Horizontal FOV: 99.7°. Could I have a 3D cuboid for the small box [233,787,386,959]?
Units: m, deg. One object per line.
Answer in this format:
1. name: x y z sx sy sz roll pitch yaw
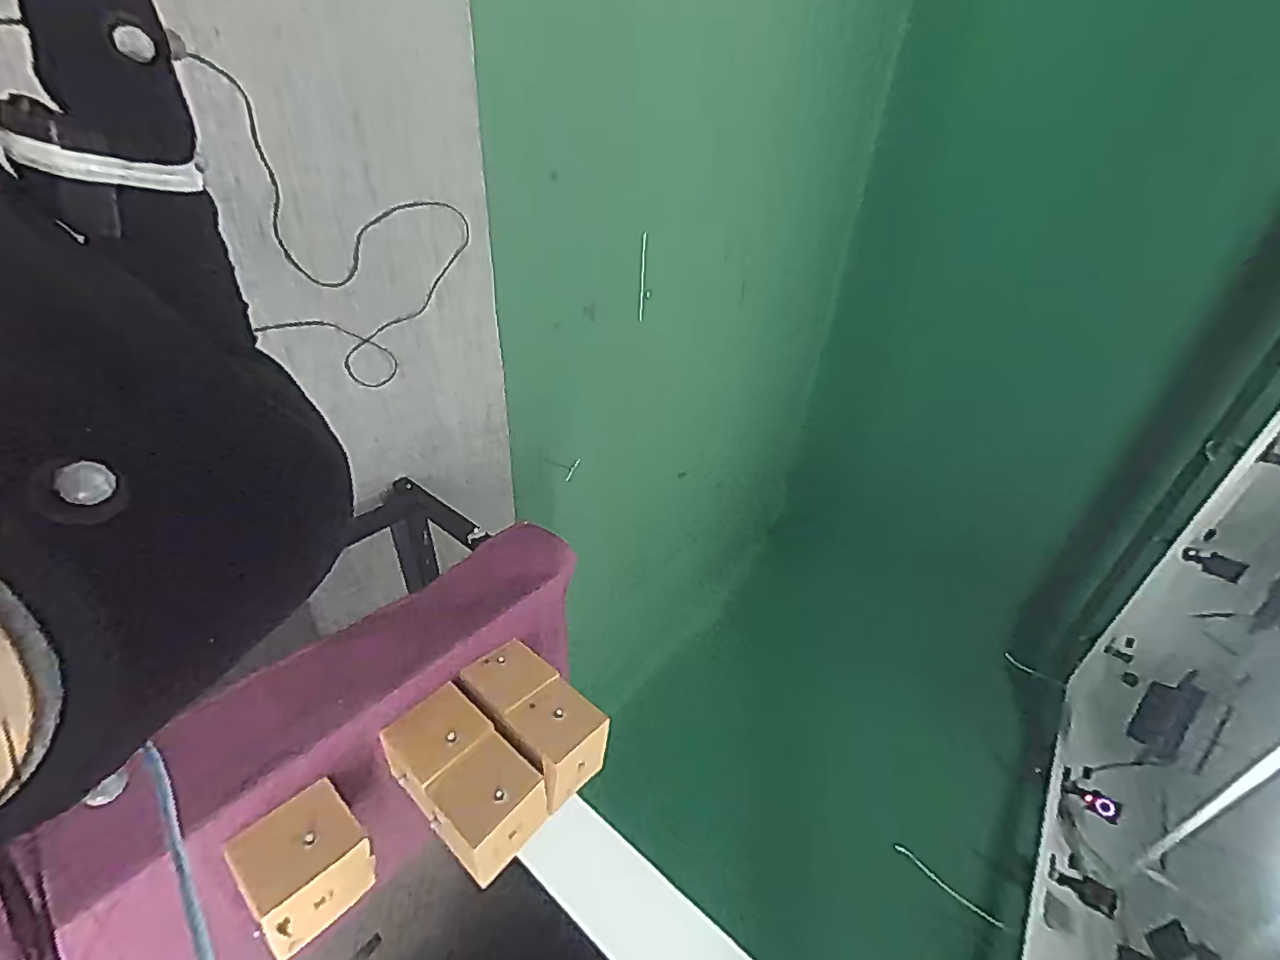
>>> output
1. small box: -0.600 0.717 0.993 0.179 0.176 0.168 -27 133 -47
